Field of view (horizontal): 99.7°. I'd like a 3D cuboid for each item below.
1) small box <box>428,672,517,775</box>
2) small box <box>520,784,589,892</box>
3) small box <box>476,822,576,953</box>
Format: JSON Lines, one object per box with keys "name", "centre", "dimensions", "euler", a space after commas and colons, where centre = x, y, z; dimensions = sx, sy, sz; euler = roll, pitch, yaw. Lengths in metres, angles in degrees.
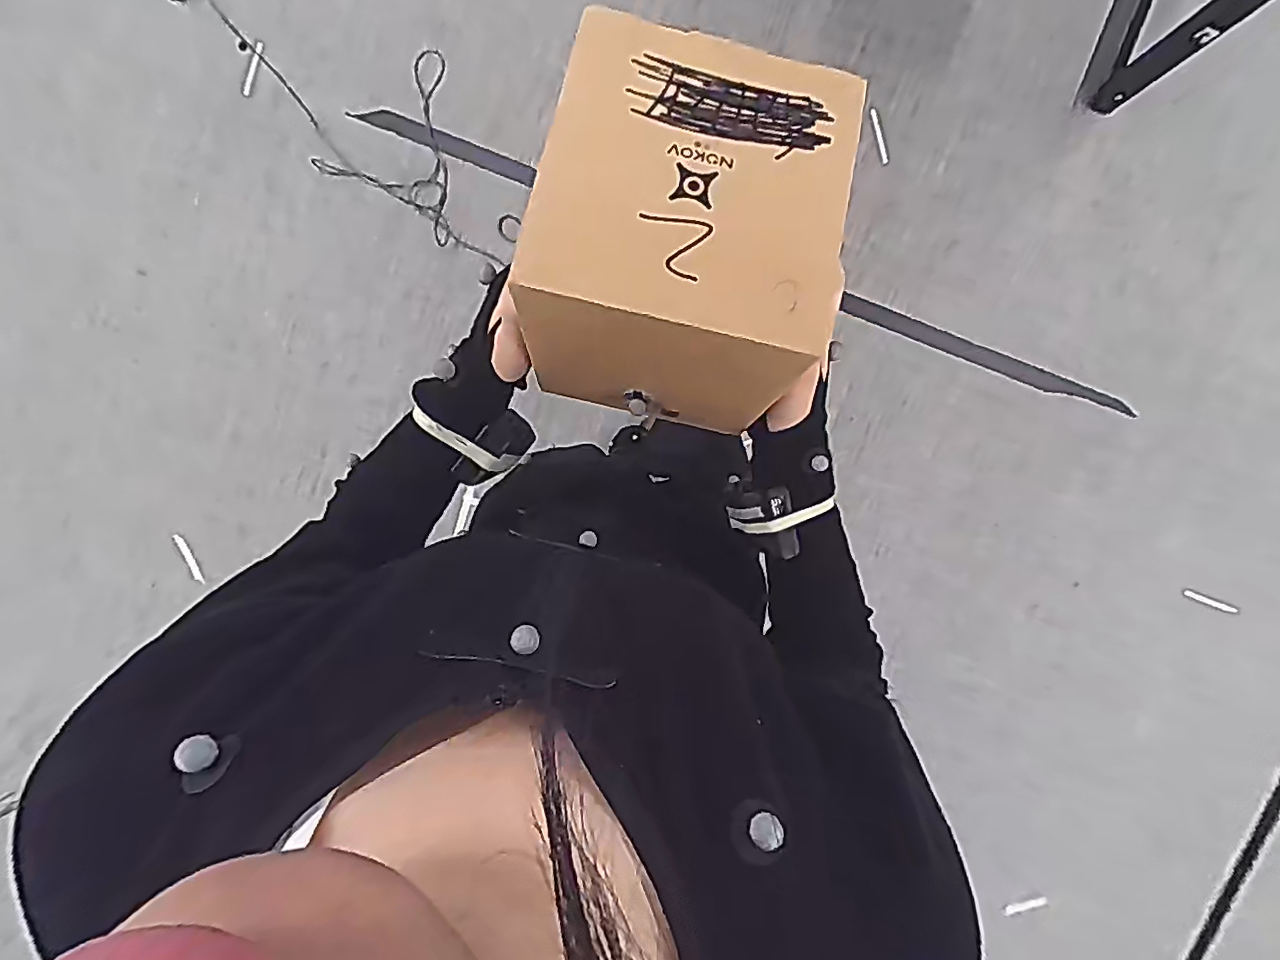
{"name": "small box", "centre": [-0.440, 0.643, 1.450], "dimensions": [0.168, 0.176, 0.179], "euler": [15, 95, -1]}
{"name": "small box", "centre": [-0.244, 0.967, 1.475], "dimensions": [0.179, 0.176, 0.168], "euler": [14, 95, -2]}
{"name": "small box", "centre": [-0.268, 0.974, 1.310], "dimensions": [0.179, 0.176, 0.168], "euler": [18, 96, -1]}
